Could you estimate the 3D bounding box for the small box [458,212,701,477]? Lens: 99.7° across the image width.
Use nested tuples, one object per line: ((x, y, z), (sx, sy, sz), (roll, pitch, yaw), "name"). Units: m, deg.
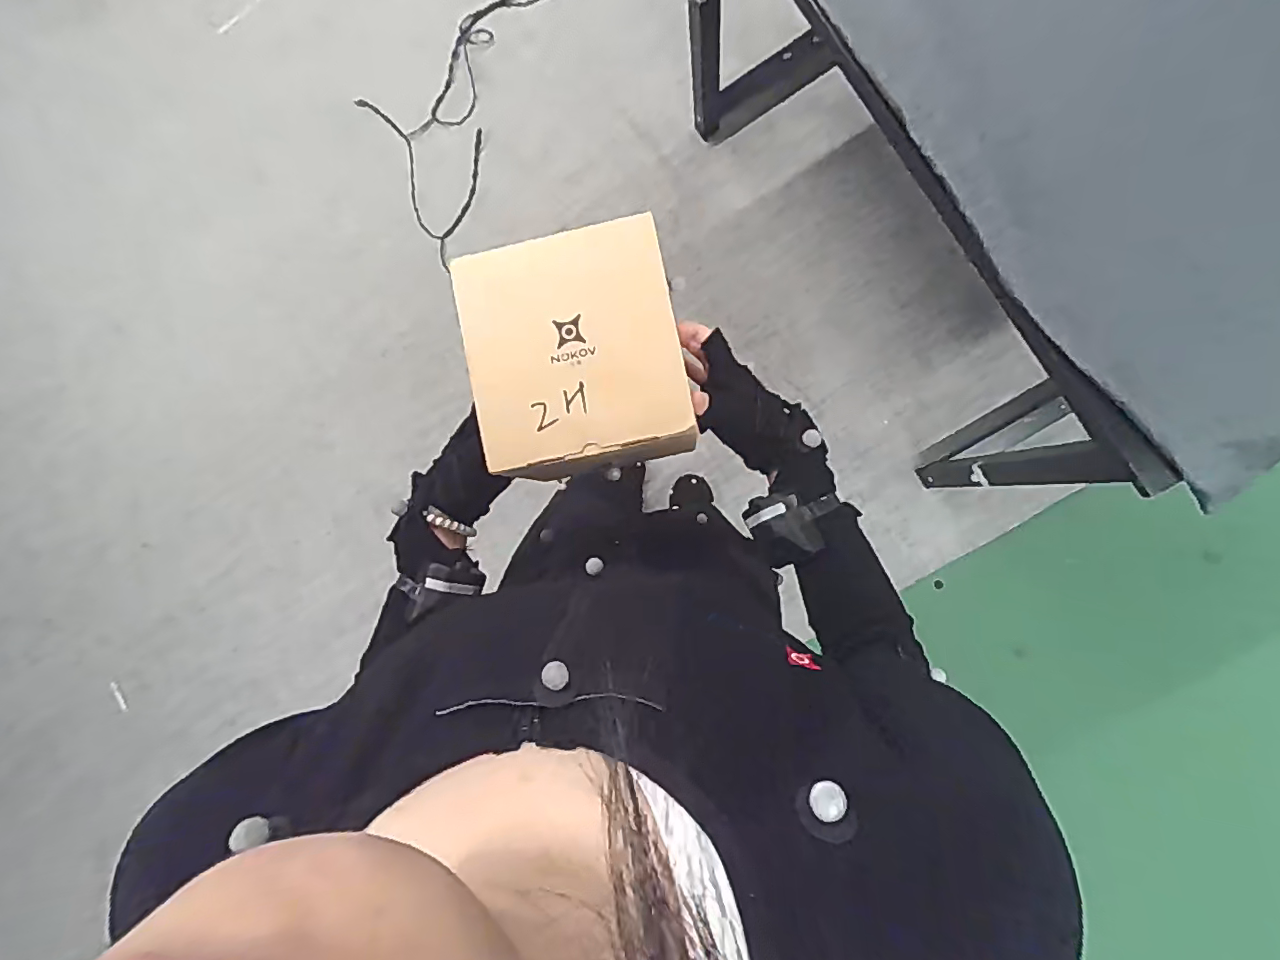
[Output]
((-0.044, -0.104, 0.494), (0.168, 0.176, 0.179), (-11, 88, 4), "small box")
